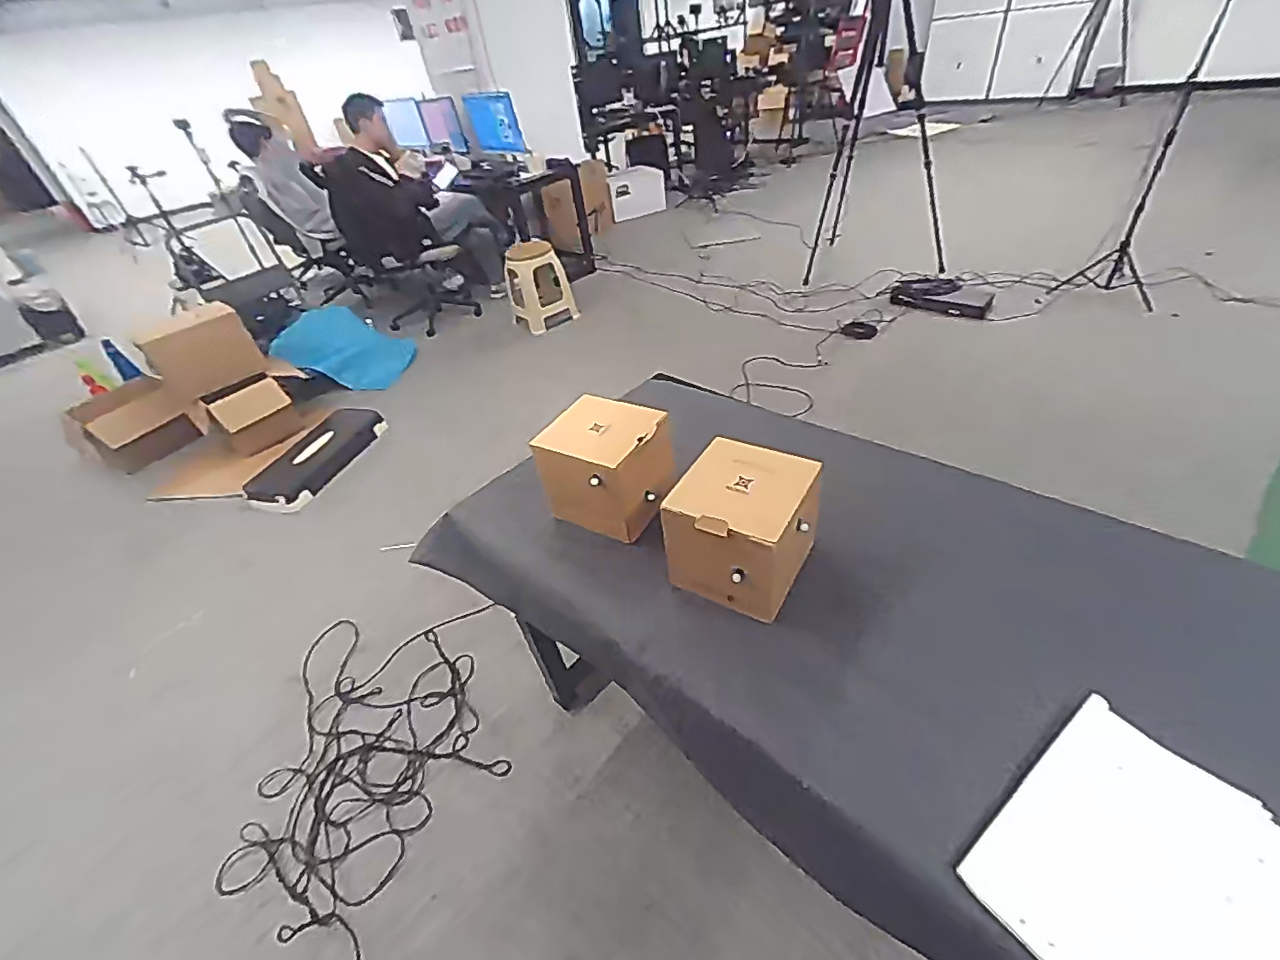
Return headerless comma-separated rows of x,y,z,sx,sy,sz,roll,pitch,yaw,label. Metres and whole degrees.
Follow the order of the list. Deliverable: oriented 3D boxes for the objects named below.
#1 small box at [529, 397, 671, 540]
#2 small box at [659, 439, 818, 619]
-0.060,-0.021,0.944,0.179,0.176,0.168,16,45,27,small box
0.147,0.070,0.791,0.168,0.176,0.179,18,45,28,small box
